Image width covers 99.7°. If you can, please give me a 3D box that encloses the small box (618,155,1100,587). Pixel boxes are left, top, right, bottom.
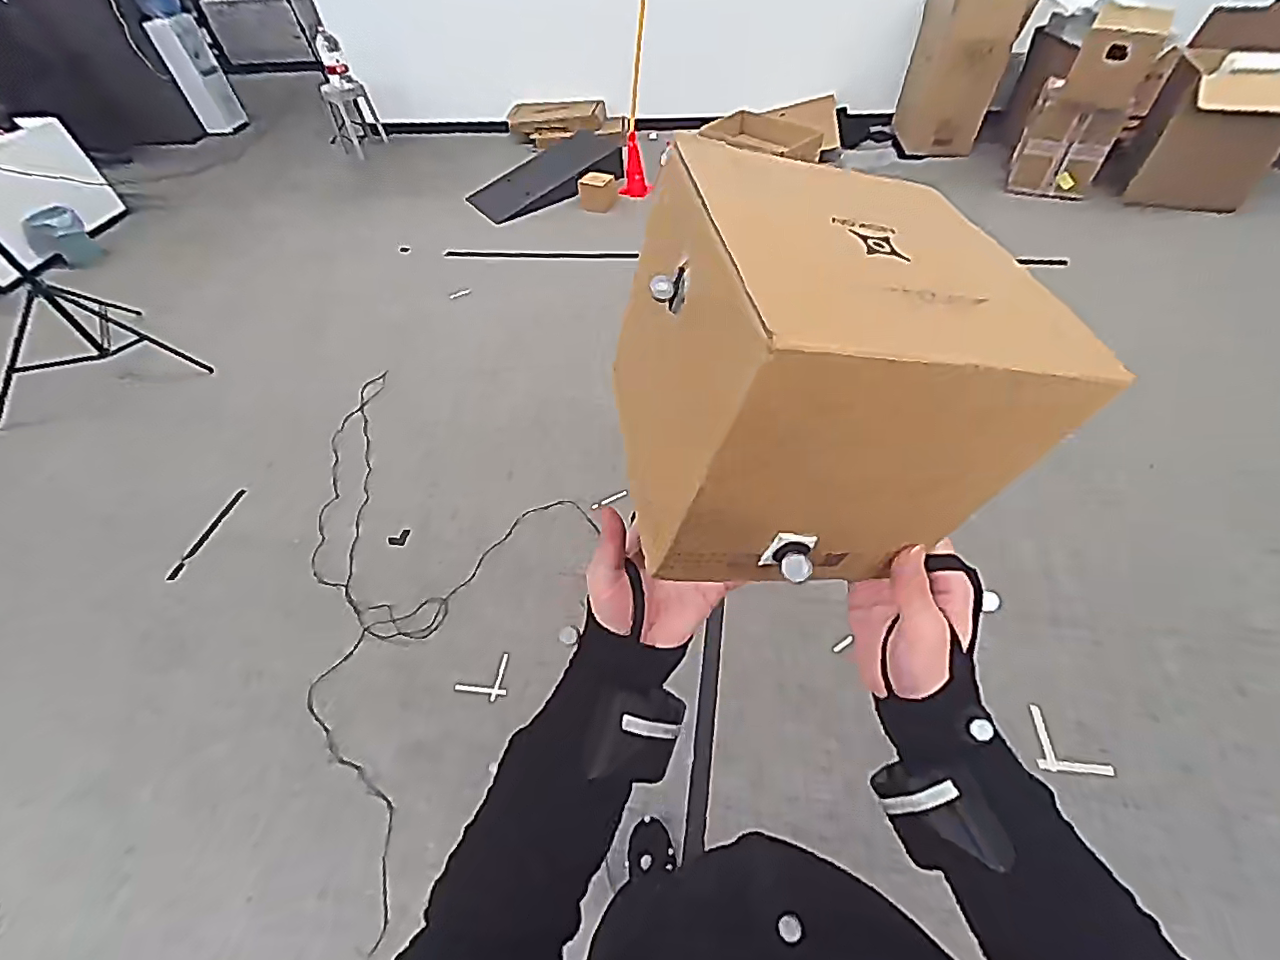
[{"bbox_3d":[0.089,-0.055,0.321,0.168,0.176,0.179,0,52,-16],"label":"small box"}]
